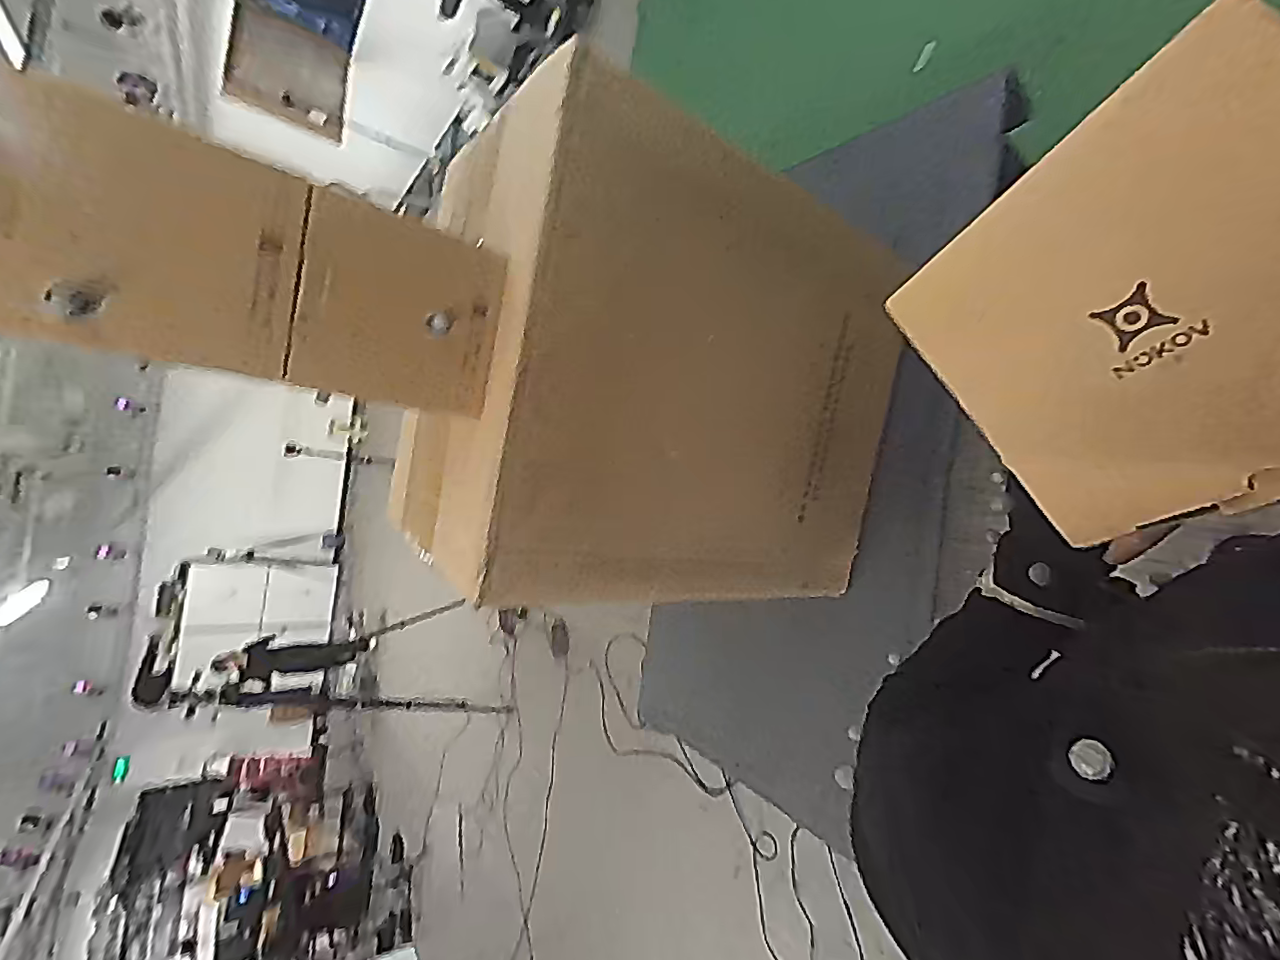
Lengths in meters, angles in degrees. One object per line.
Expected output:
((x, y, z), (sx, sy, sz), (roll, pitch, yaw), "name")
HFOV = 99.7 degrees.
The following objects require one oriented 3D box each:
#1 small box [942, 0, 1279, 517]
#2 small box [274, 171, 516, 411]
((0.309, -0.111, 0.278), (0.179, 0.176, 0.168), (60, 146, 11), "small box")
((-0.246, -0.167, 0.539), (0.179, 0.176, 0.168), (16, 97, 50), "small box")
